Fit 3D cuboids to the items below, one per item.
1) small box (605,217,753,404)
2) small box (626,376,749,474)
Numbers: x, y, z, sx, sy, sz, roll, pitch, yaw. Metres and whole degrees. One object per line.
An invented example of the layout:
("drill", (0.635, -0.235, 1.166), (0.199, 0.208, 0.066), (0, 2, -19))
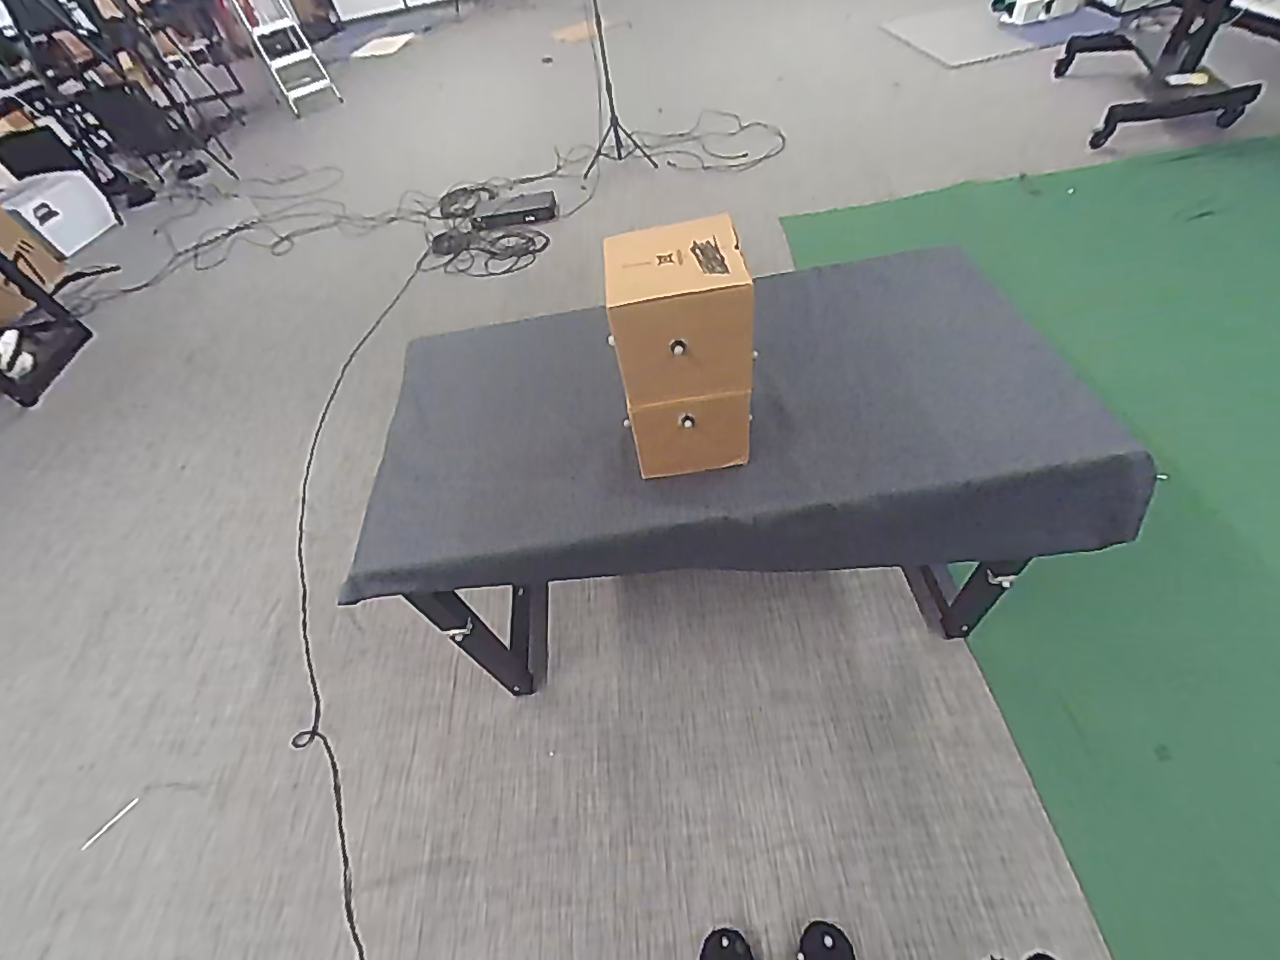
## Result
("small box", (0.053, -0.226, 0.743), (0.179, 0.176, 0.168), (-8, 53, 5))
("small box", (0.073, -0.125, 0.871), (0.179, 0.176, 0.168), (-8, 53, 3))
